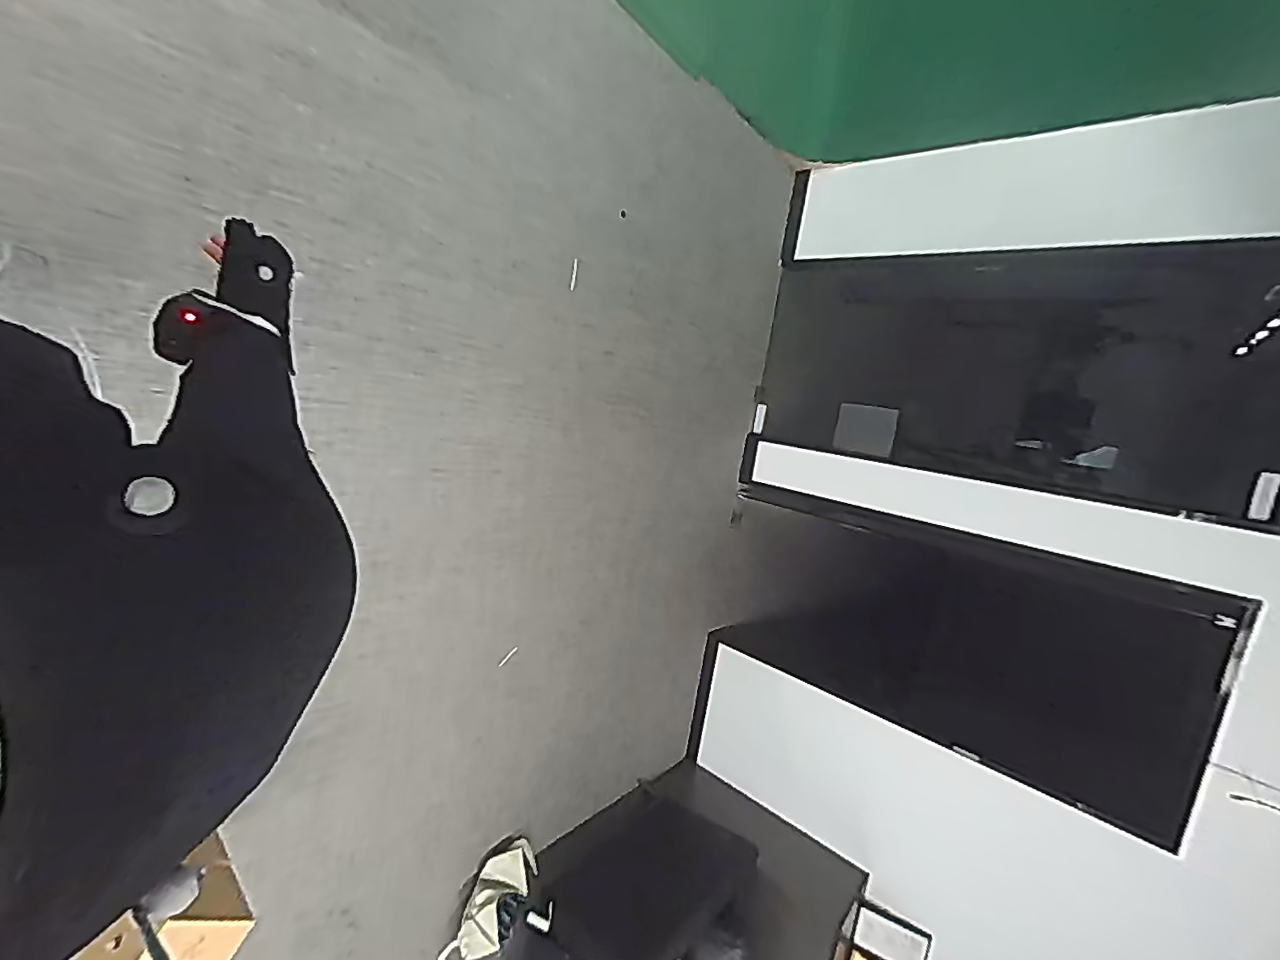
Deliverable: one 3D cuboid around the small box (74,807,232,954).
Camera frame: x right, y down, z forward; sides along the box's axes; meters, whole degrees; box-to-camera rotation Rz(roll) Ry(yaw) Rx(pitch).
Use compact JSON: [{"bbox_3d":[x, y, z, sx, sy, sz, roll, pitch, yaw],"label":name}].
[{"bbox_3d":[-0.990,0.795,1.096,0.168,0.176,0.179,46,67,-48],"label":"small box"}]
